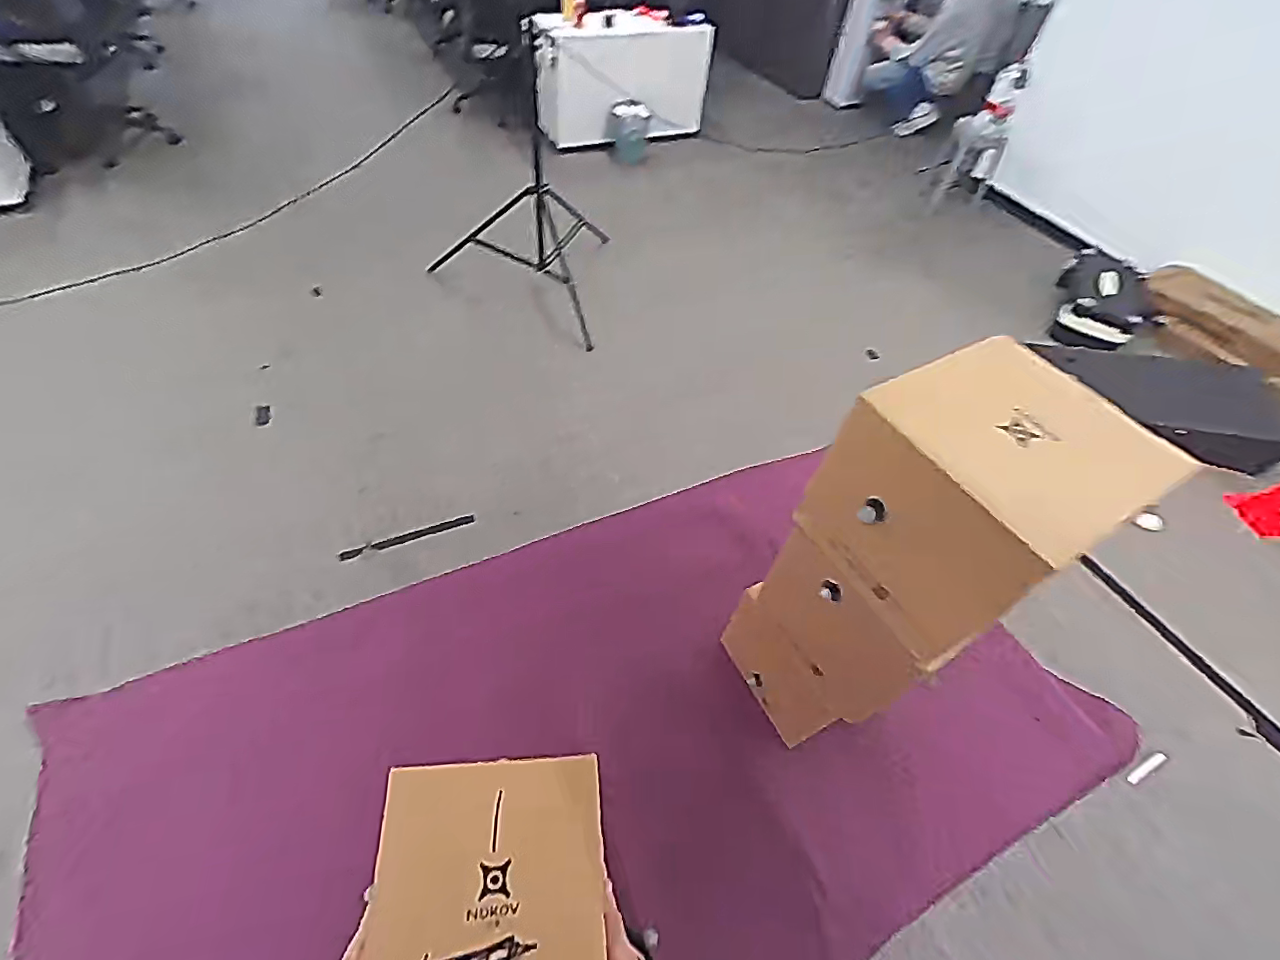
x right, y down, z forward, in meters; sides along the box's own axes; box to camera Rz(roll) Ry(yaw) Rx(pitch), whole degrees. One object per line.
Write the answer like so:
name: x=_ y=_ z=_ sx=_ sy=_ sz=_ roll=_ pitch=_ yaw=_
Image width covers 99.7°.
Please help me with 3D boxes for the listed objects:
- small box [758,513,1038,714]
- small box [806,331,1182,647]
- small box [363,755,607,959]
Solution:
small box: x=0.255 y=0.115 z=0.577 sx=0.179 sy=0.176 sz=0.168 roll=-23 pitch=58 yaw=-23
small box: x=0.263 y=0.009 z=0.452 sx=0.179 sy=0.176 sz=0.168 roll=-23 pitch=58 yaw=-22
small box: x=-0.123 y=0.343 z=0.454 sx=0.168 sy=0.176 sz=0.179 roll=5 pitch=53 yaw=-14
